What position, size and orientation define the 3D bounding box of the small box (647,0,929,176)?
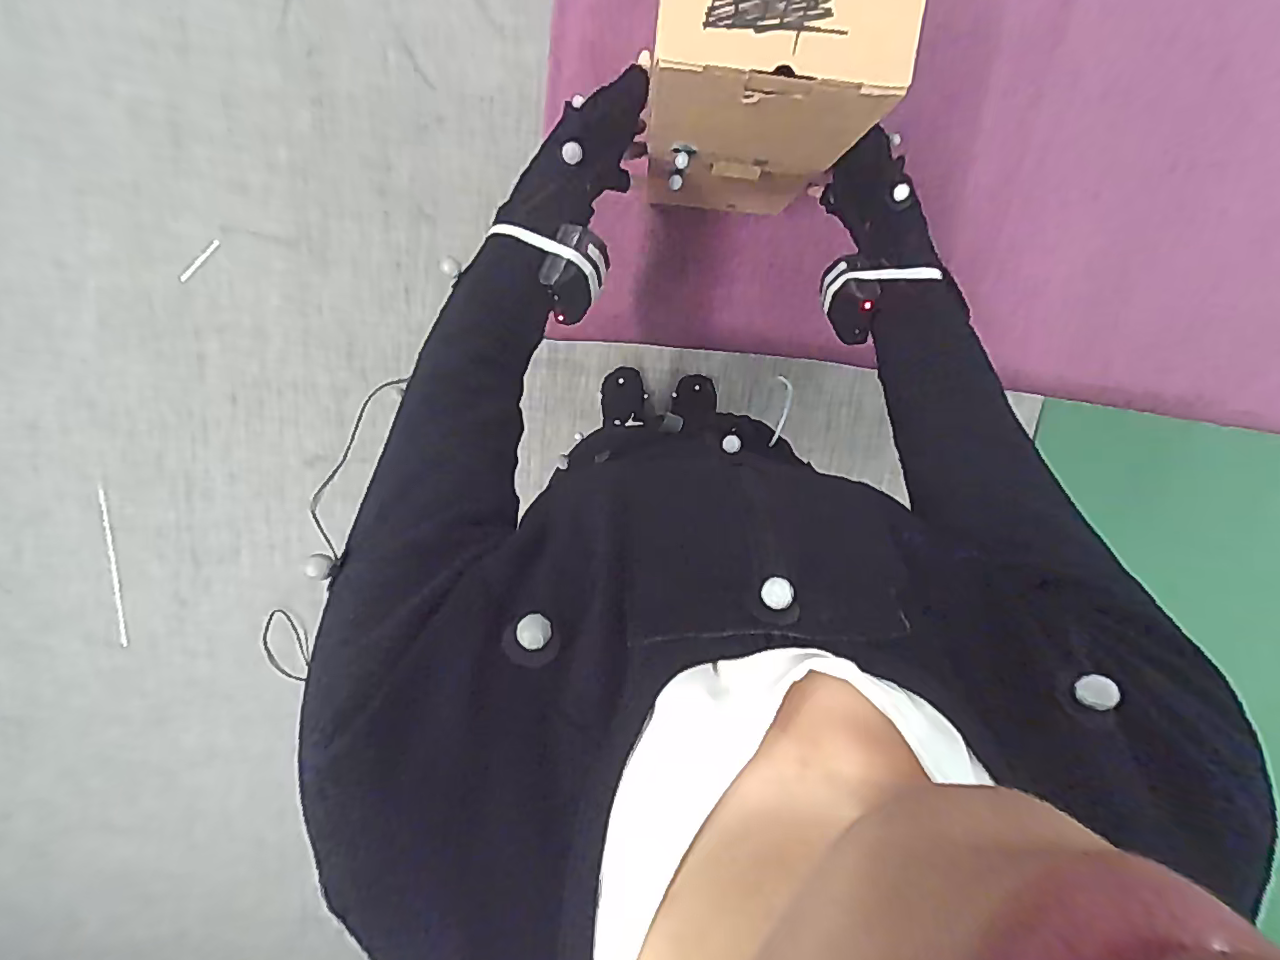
[{"bbox_3d":[0.099,-0.350,0.399,0.168,0.176,0.179,8,103,-5],"label":"small box"}]
